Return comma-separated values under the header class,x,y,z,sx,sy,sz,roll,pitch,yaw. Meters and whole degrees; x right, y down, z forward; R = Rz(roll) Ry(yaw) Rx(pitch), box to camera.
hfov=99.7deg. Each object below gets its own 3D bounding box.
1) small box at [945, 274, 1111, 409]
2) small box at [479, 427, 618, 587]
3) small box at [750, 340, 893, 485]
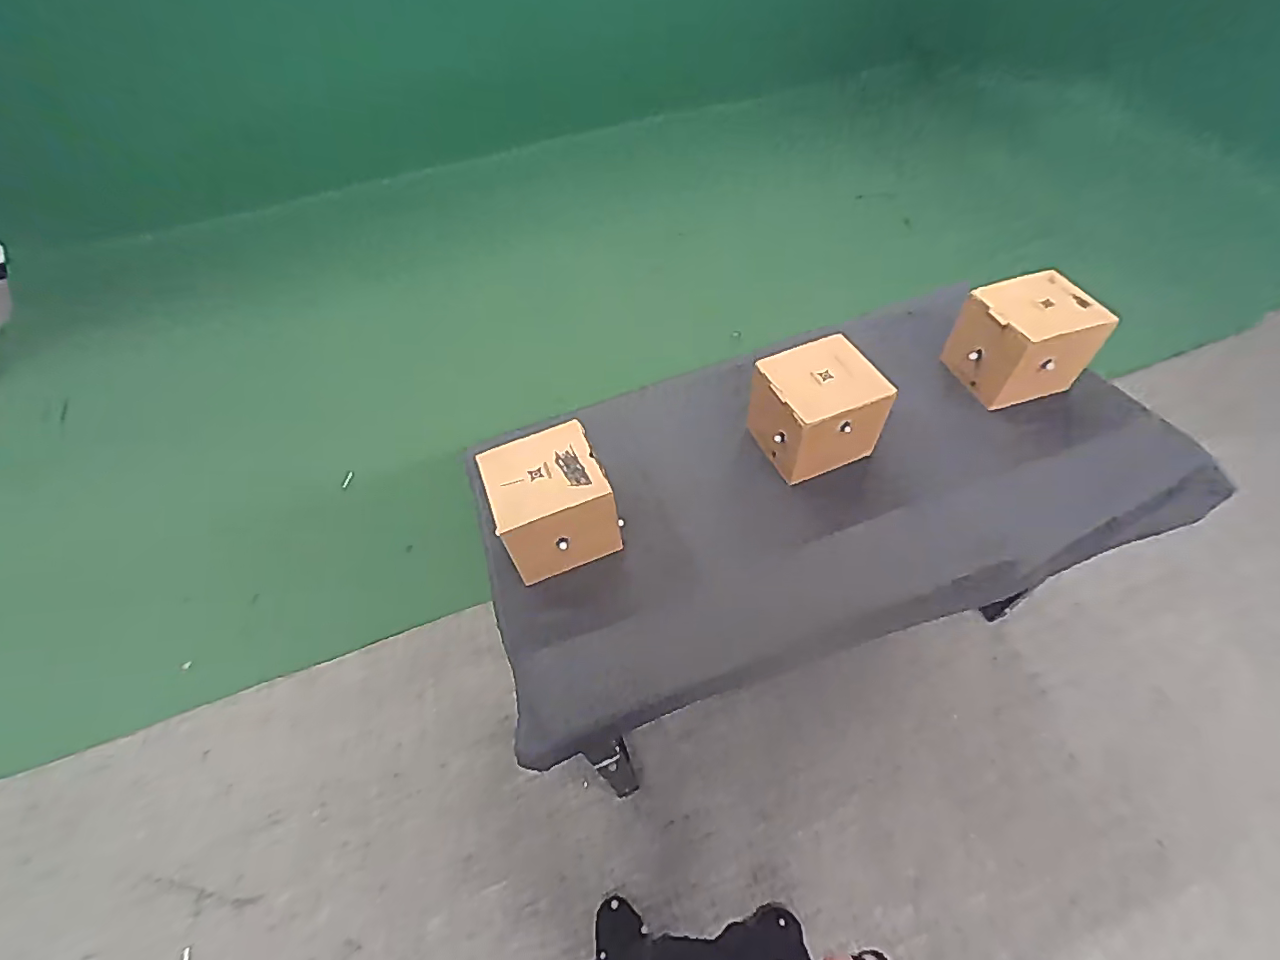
class,x,y,z,sx,sy,sz,roll,pitch,yaw
small box,0.720,-0.259,1.035,0.179,0.176,0.168,-16,54,-5
small box,-0.143,0.048,0.891,0.179,0.176,0.168,-21,54,-9
small box,0.311,-0.117,0.974,0.179,0.176,0.168,-20,55,-11
